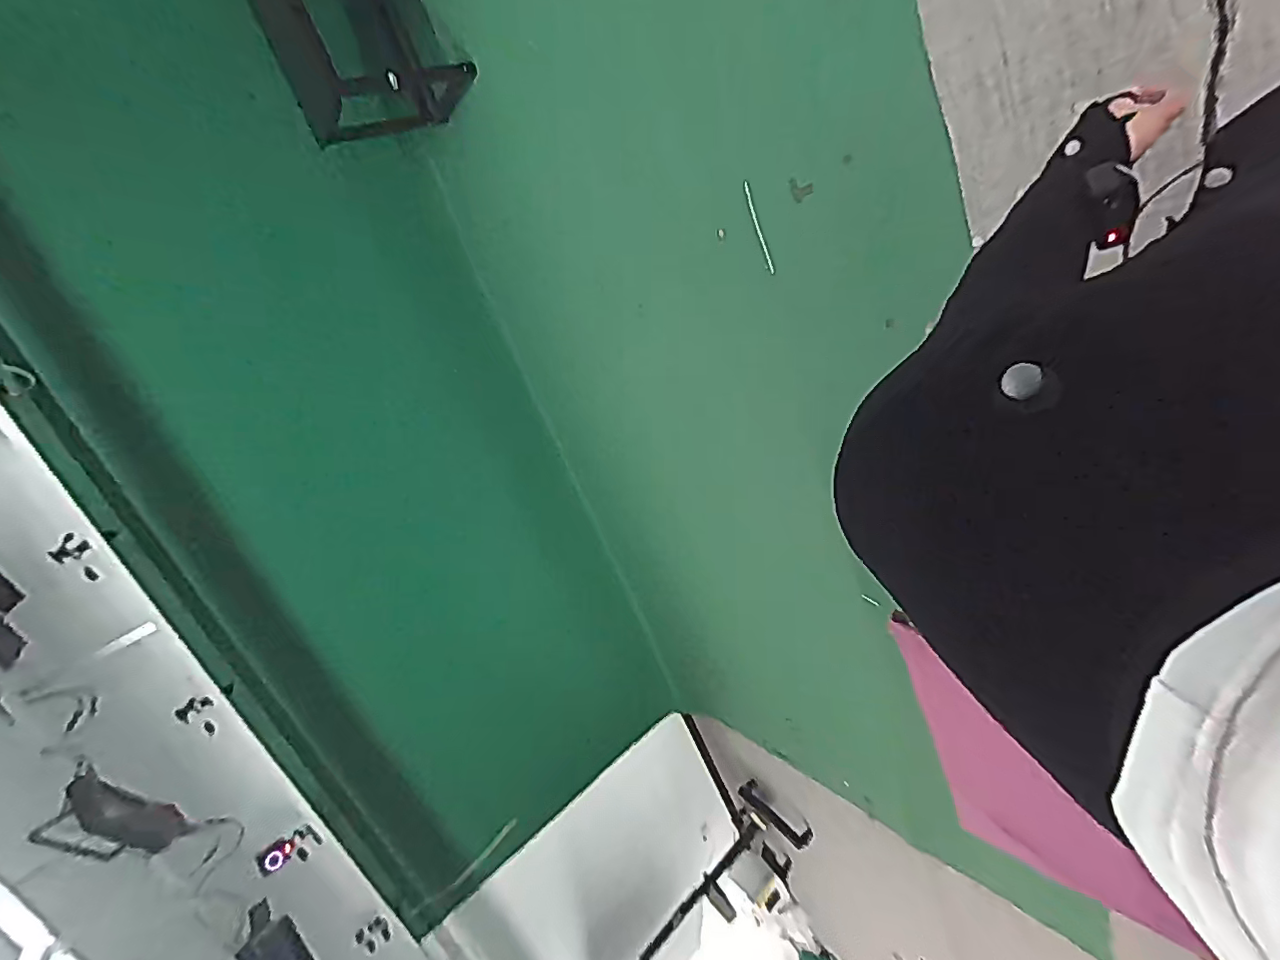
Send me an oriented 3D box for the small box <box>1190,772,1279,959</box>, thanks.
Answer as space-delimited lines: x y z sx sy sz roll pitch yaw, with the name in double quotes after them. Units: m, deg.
0.951 0.584 0.795 0.168 0.176 0.179 5 123 56 "small box"
